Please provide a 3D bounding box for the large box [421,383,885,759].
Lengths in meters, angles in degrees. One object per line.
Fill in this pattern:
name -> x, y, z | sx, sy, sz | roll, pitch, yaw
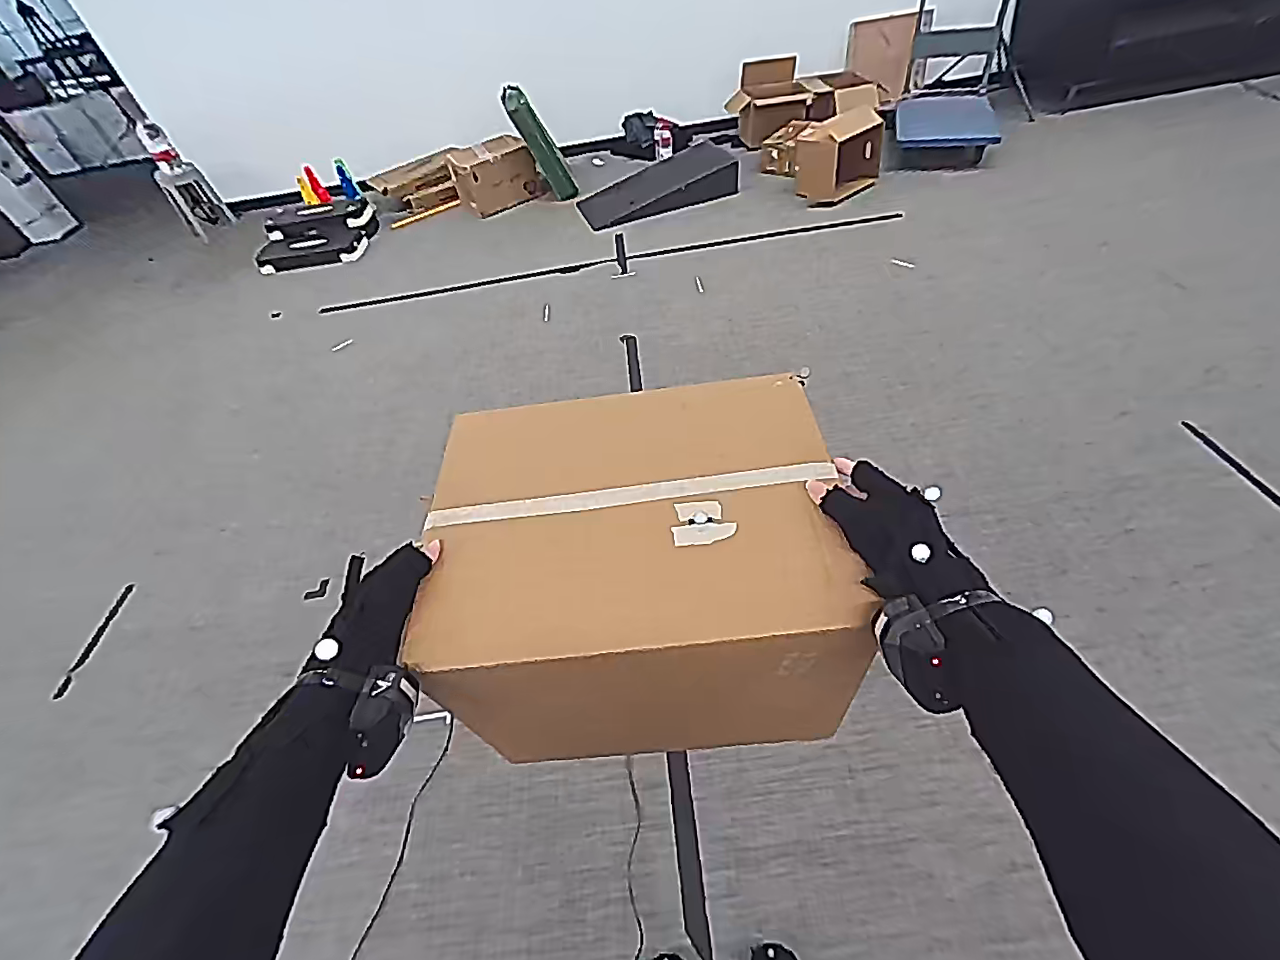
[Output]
large box -> 0.013, 0.119, 0.660 | 0.408, 0.320, 0.320 | -6, 50, 2
